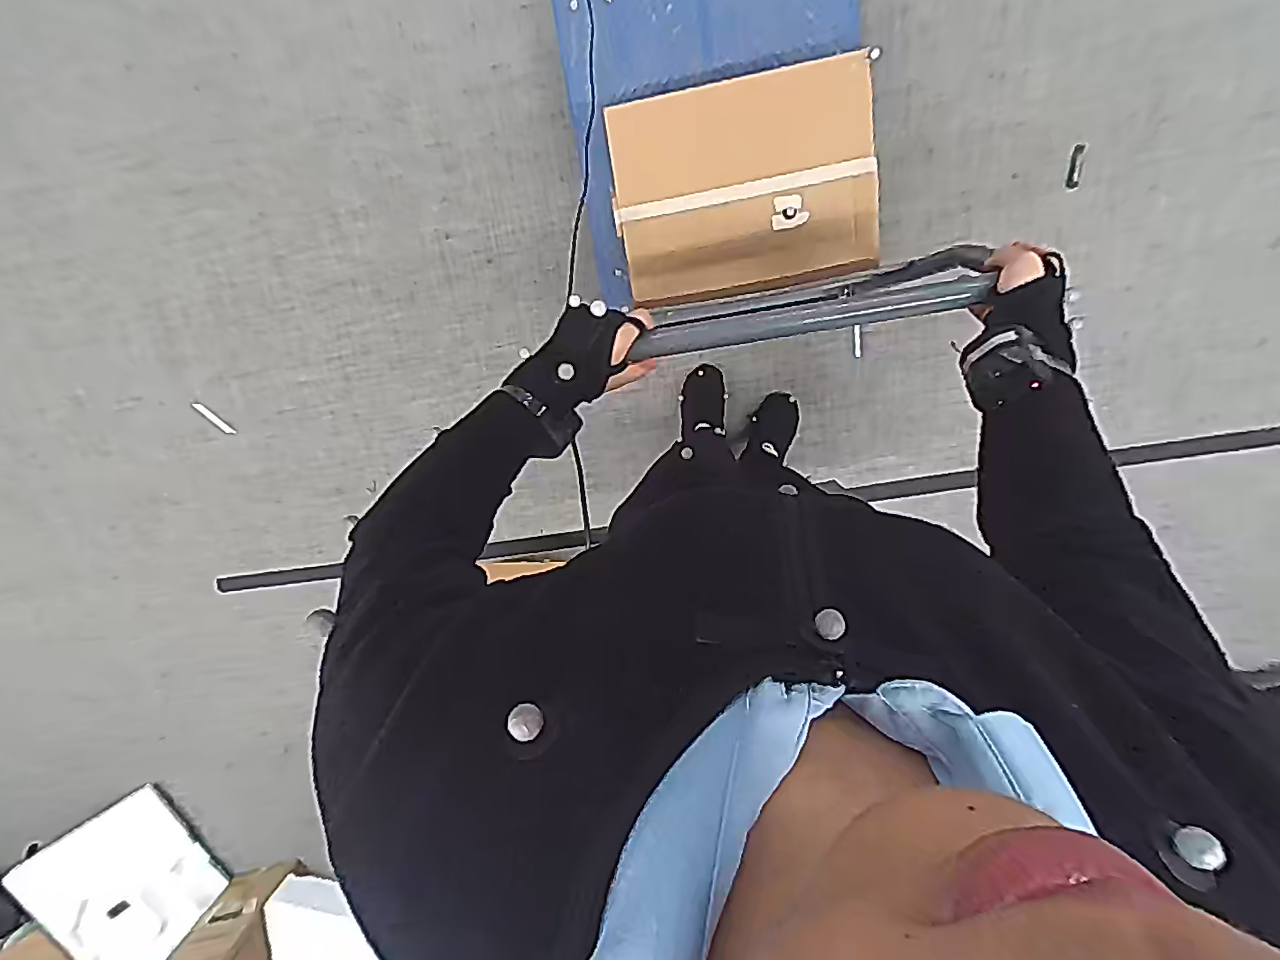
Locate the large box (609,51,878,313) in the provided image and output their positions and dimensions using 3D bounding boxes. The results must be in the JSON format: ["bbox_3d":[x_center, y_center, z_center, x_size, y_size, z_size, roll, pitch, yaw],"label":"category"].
[{"bbox_3d":[0.180,-0.507,1.010,0.408,0.320,0.320,-8,106,7],"label":"large box"}]
